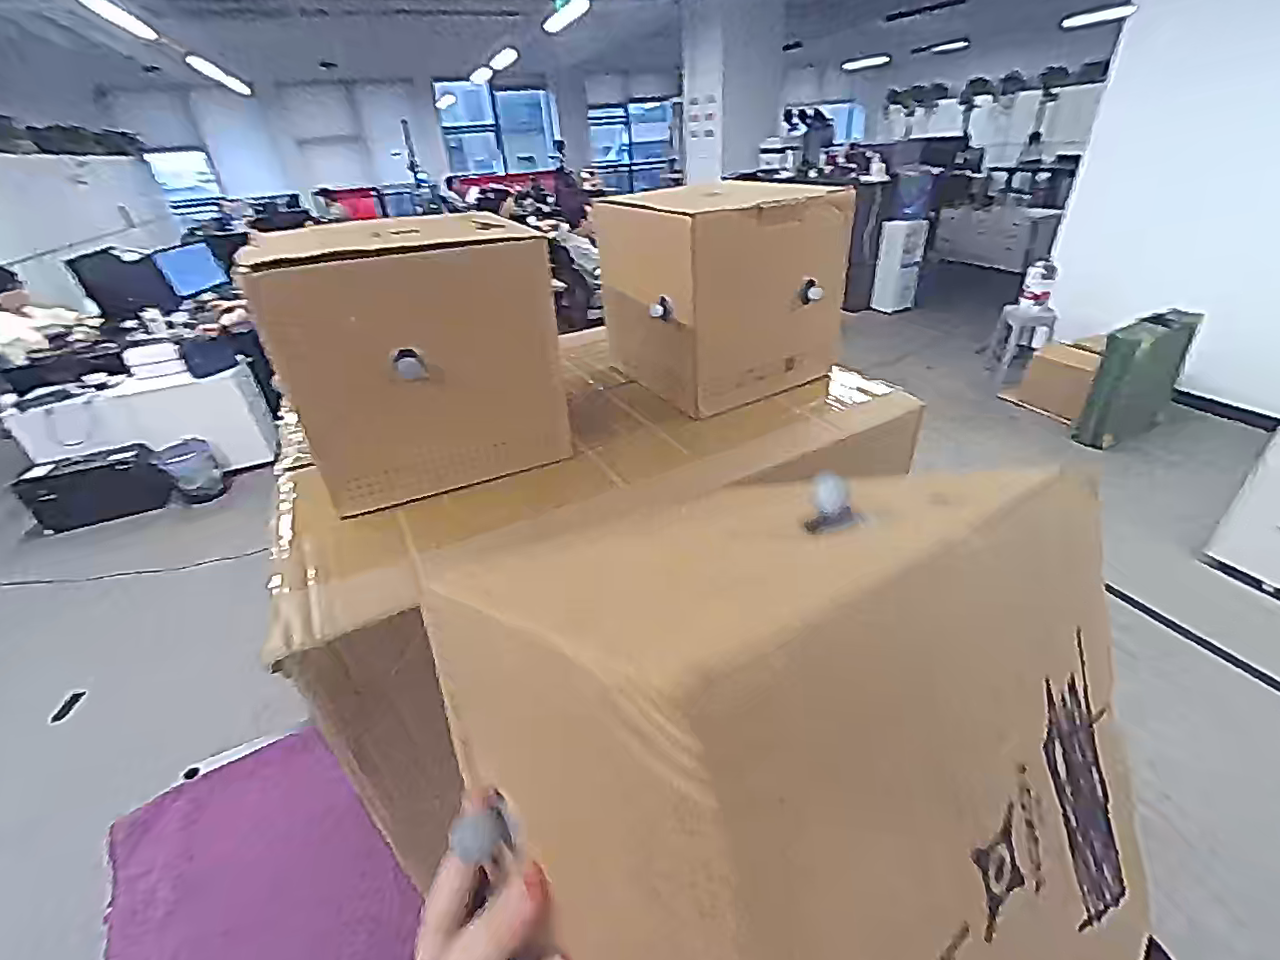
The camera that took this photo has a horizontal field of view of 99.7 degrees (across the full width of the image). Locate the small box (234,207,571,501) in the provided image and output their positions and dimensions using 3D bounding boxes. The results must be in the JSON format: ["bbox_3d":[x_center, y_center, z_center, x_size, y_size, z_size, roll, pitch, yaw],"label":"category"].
[{"bbox_3d":[-0.167,-0.105,0.418,0.179,0.176,0.168,-17,35,-21],"label":"small box"}]

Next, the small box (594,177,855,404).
[{"bbox_3d":[0.073,-0.185,0.521,0.168,0.176,0.179,-20,35,-23],"label":"small box"}]
